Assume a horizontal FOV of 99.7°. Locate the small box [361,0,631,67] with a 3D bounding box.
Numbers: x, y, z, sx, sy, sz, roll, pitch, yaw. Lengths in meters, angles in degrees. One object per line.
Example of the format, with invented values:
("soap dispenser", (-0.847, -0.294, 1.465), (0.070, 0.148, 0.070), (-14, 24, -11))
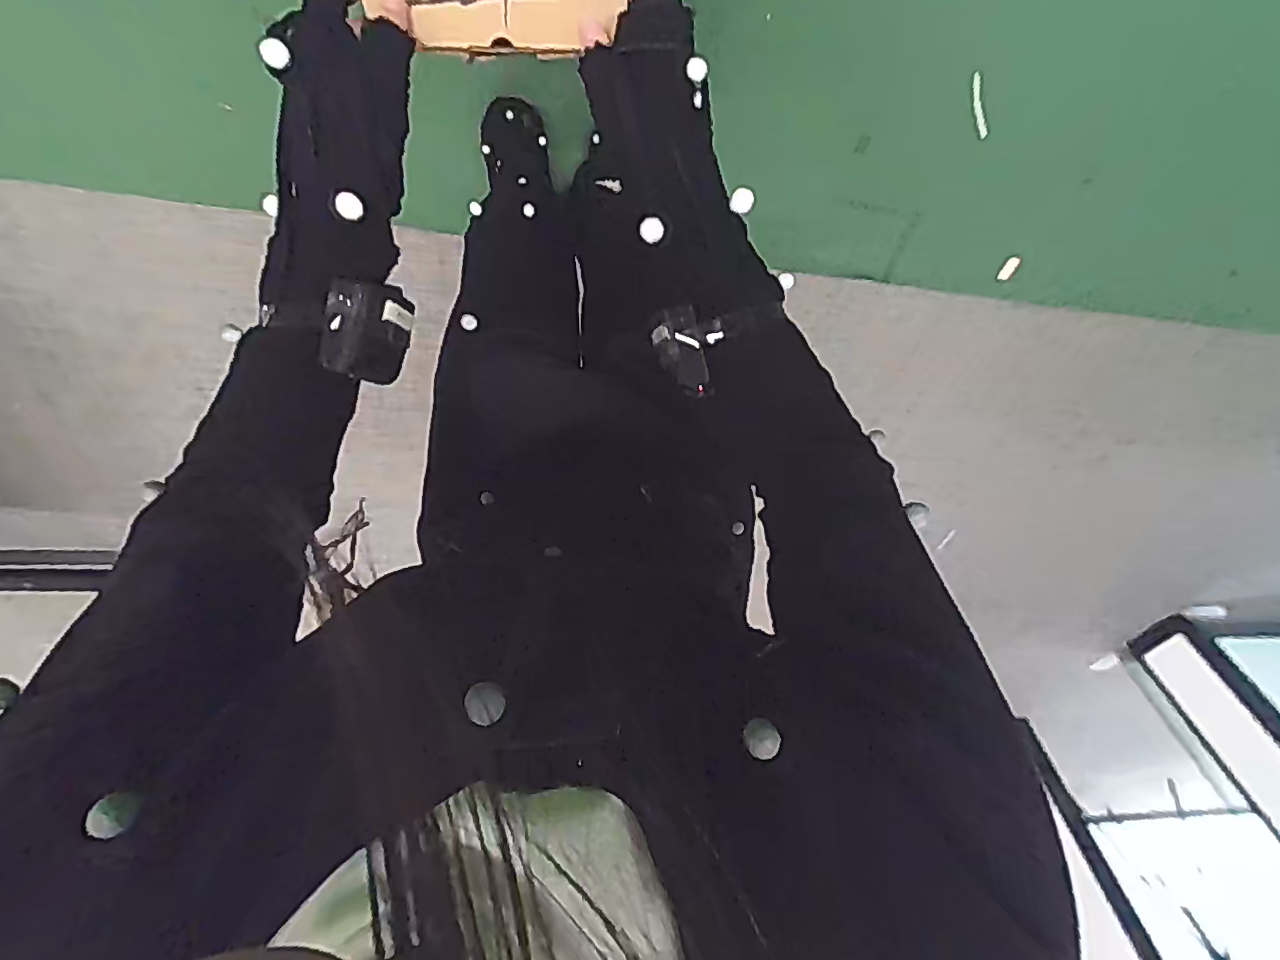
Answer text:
("small box", (-0.088, -0.384, 0.349), (0.168, 0.176, 0.179), (-2, 130, -3))
